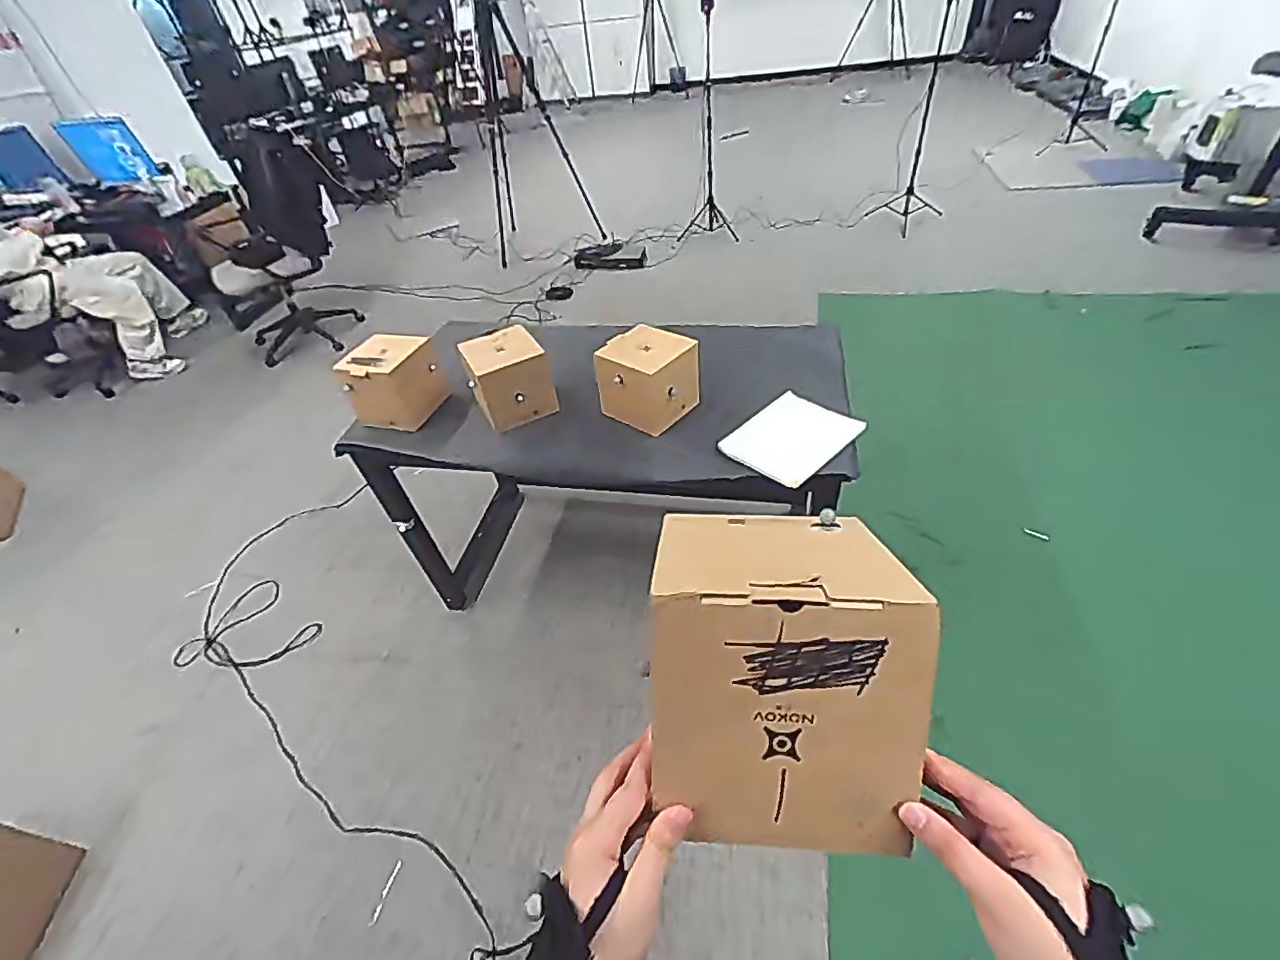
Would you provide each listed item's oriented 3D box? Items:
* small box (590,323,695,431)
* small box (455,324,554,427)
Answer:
[{"bbox_3d":[0.013,-0.235,1.249,0.179,0.176,0.168,27,53,33],"label":"small box"},{"bbox_3d":[-0.324,-0.248,1.315,0.168,0.176,0.179,-24,45,-17],"label":"small box"}]
